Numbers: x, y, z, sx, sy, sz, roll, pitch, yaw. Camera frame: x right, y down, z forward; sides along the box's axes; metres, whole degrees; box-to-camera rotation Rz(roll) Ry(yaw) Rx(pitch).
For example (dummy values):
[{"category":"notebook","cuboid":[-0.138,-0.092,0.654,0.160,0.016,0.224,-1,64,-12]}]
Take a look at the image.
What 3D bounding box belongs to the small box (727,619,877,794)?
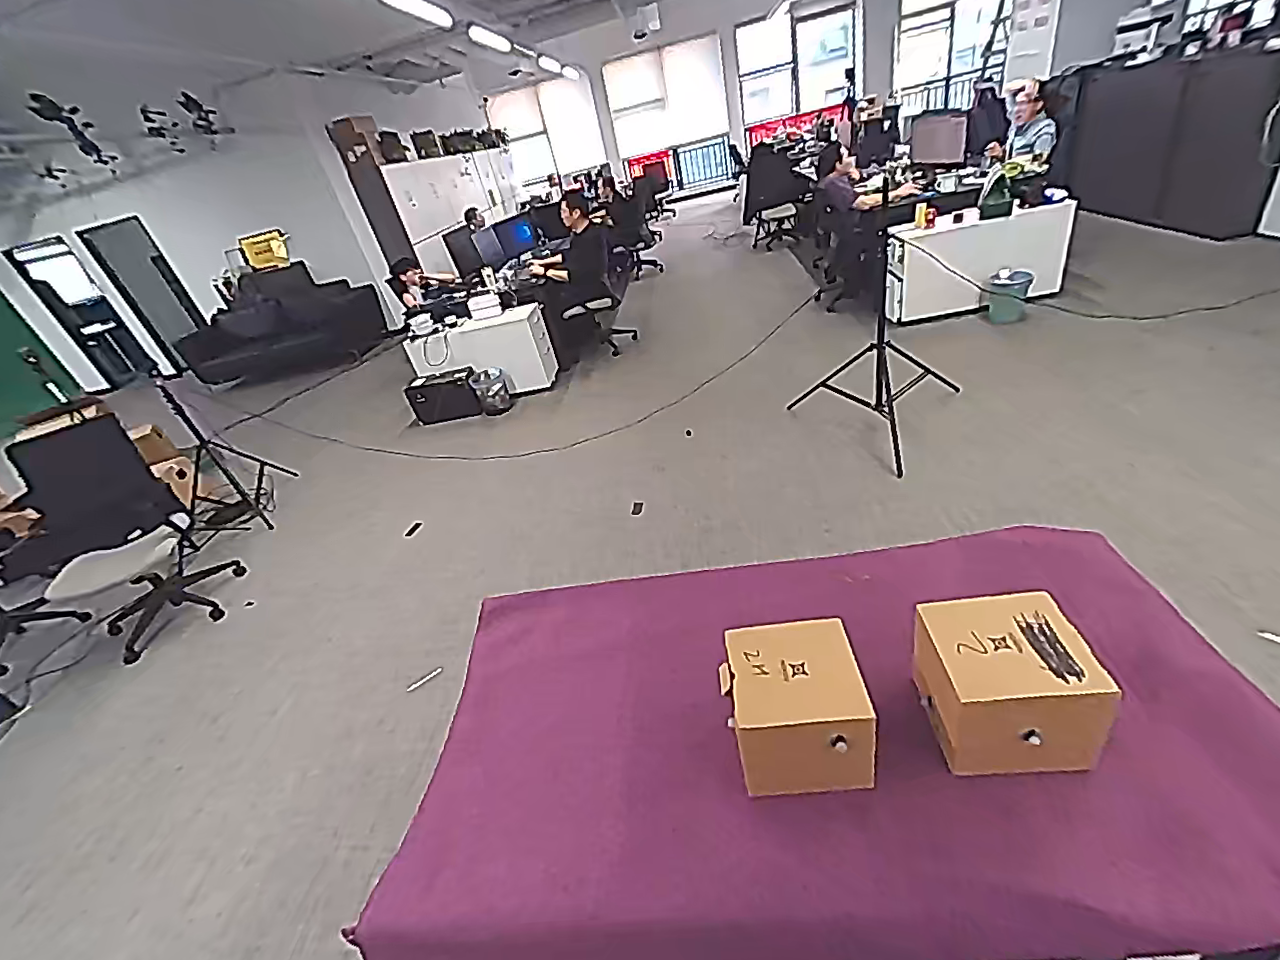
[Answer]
[{"category":"small box","cuboid":[0.230,0.330,0.789,0.179,0.176,0.168,-10,31,9]}]
